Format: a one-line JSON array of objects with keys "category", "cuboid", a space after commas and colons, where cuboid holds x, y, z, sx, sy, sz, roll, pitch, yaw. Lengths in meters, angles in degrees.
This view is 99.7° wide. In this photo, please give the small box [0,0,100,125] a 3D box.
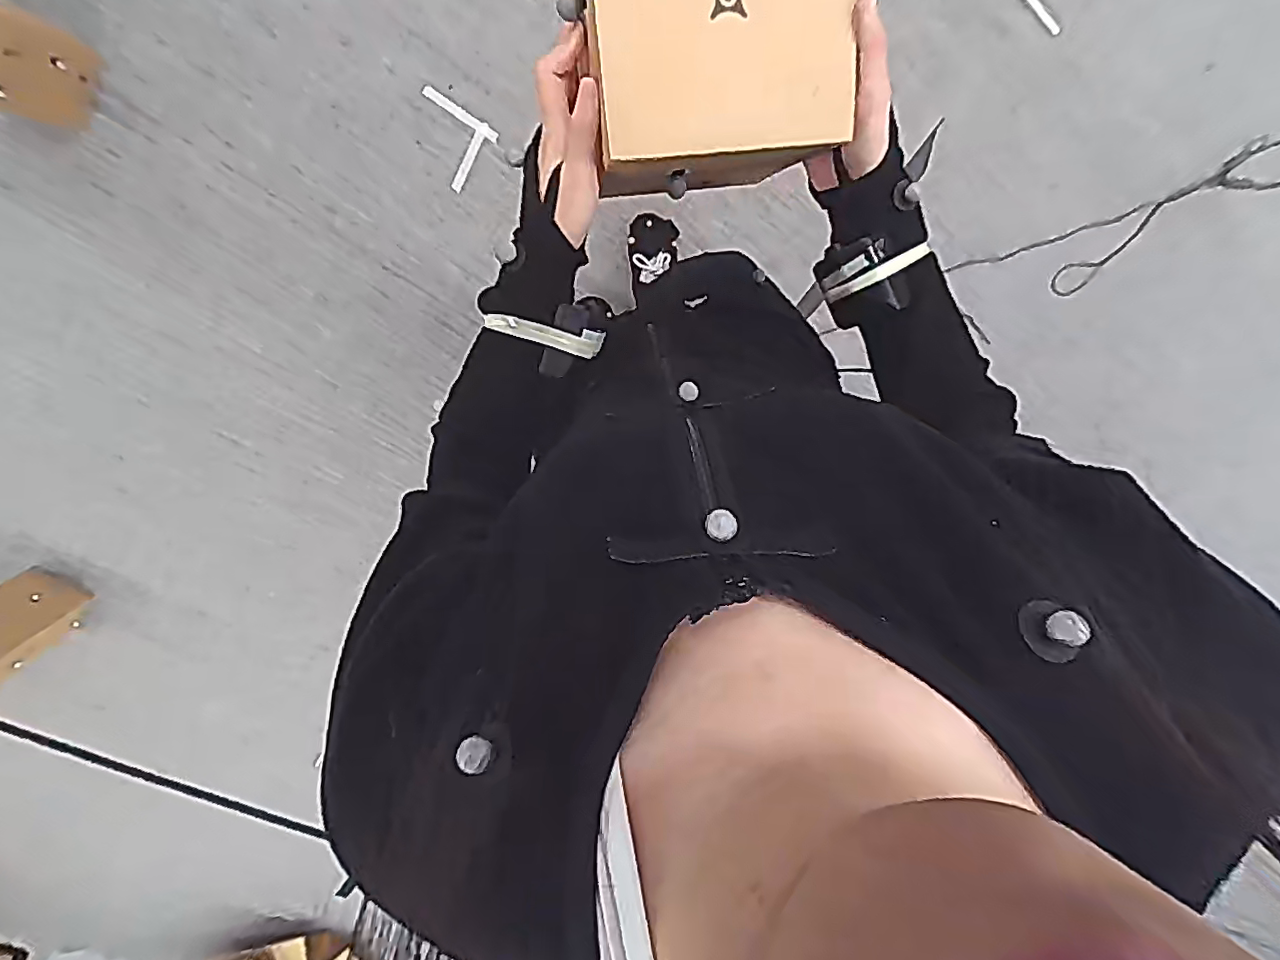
[{"category": "small box", "cuboid": [-1.233, -0.834, 1.062, 0.179, 0.176, 0.168, 28, 109, -13]}]

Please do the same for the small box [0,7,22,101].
[{"category": "small box", "cuboid": [-1.222, -0.772, 0.909, 0.179, 0.176, 0.168, 28, 109, -14]}]

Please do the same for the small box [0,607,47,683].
[{"category": "small box", "cuboid": [-1.744, 0.449, 1.414, 0.179, 0.176, 0.168, 35, 108, -17]}]

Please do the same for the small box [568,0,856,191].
[{"category": "small box", "cuboid": [0.039, -0.321, 0.395, 0.168, 0.176, 0.179, -9, 110, -7]}]
